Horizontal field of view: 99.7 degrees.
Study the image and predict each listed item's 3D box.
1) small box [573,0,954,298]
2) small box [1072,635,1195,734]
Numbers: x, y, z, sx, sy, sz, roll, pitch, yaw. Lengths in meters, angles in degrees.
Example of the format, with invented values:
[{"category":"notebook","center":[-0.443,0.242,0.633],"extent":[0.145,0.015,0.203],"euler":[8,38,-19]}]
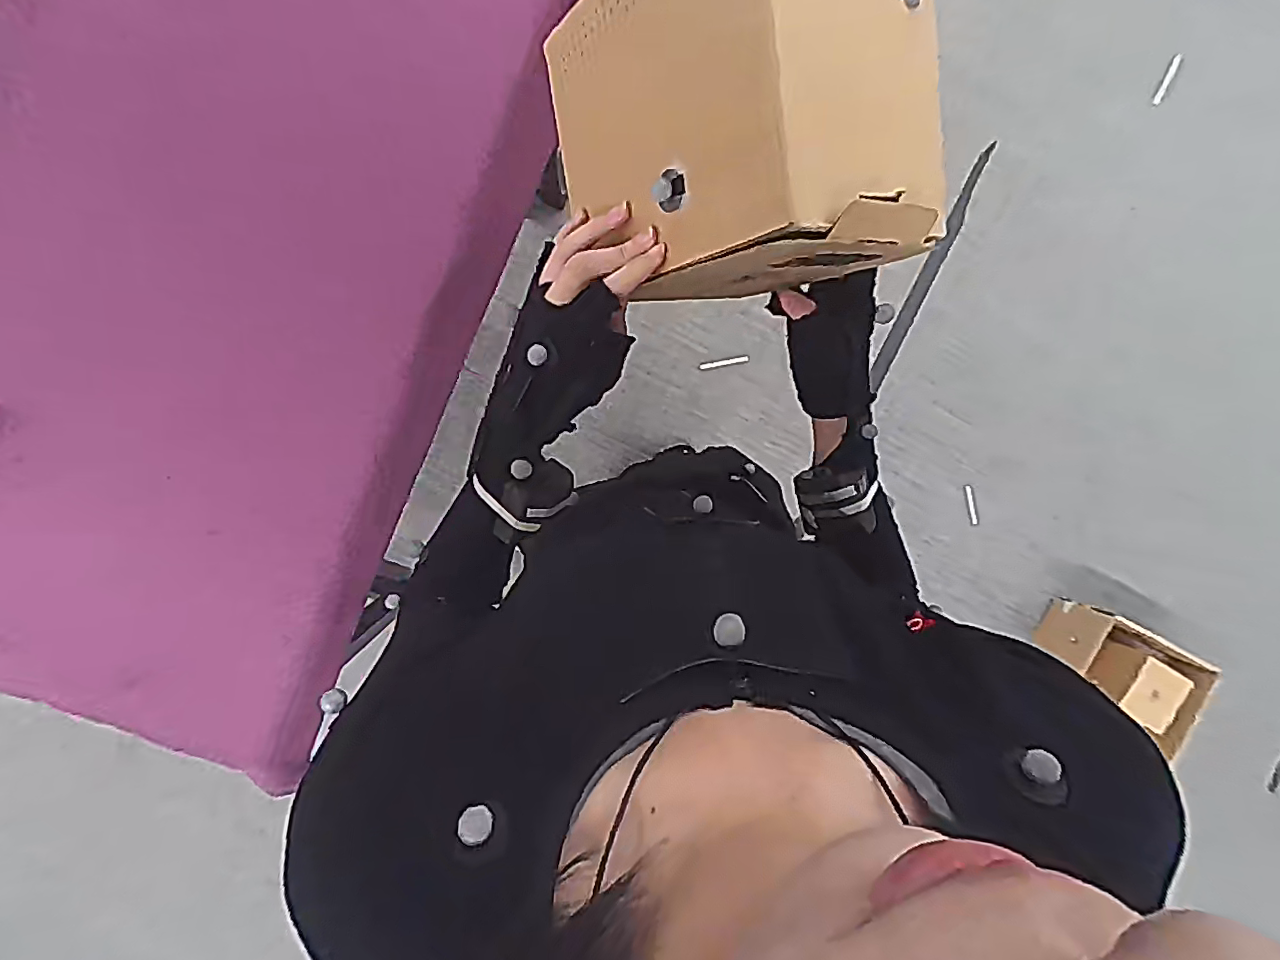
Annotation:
[{"category":"small box","center":[0.073,-0.224,0.347],"extent":[0.168,0.179,0.176],"euler":[-16,104,-37]},{"category":"small box","center":[1.402,0.580,1.552],"extent":[0.168,0.176,0.179],"euler":[30,91,-6]}]
